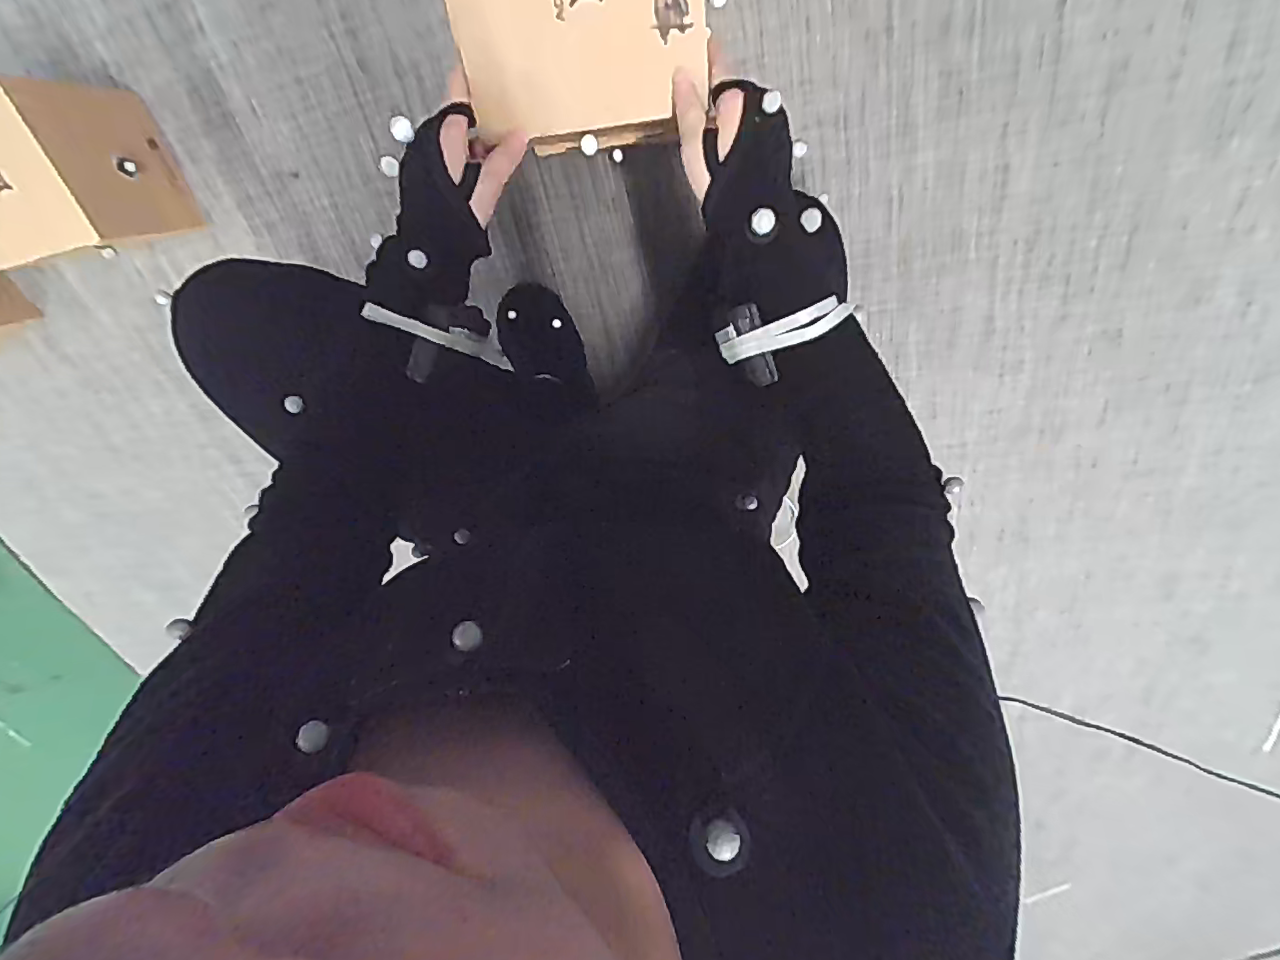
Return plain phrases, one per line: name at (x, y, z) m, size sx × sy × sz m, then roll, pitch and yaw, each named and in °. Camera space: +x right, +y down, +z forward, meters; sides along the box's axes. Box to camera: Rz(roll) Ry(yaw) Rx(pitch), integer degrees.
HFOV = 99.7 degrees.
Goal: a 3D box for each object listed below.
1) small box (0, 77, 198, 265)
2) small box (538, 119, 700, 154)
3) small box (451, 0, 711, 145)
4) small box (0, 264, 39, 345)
small box at (-0.725, -0.389, 0.692) m, size 0.179 × 0.176 × 0.168 m, roll -7°, pitch 119°, yaw 11°
small box at (-0.025, -0.454, 0.568) m, size 0.168 × 0.176 × 0.179 m, roll -3°, pitch 121°, yaw 9°
small box at (-0.035, -0.370, 0.426) m, size 0.179 × 0.176 × 0.168 m, roll -2°, pitch 121°, yaw 9°
small box at (-1.088, -0.272, 0.807) m, size 0.179 × 0.176 × 0.168 m, roll -19°, pitch 116°, yaw 17°
